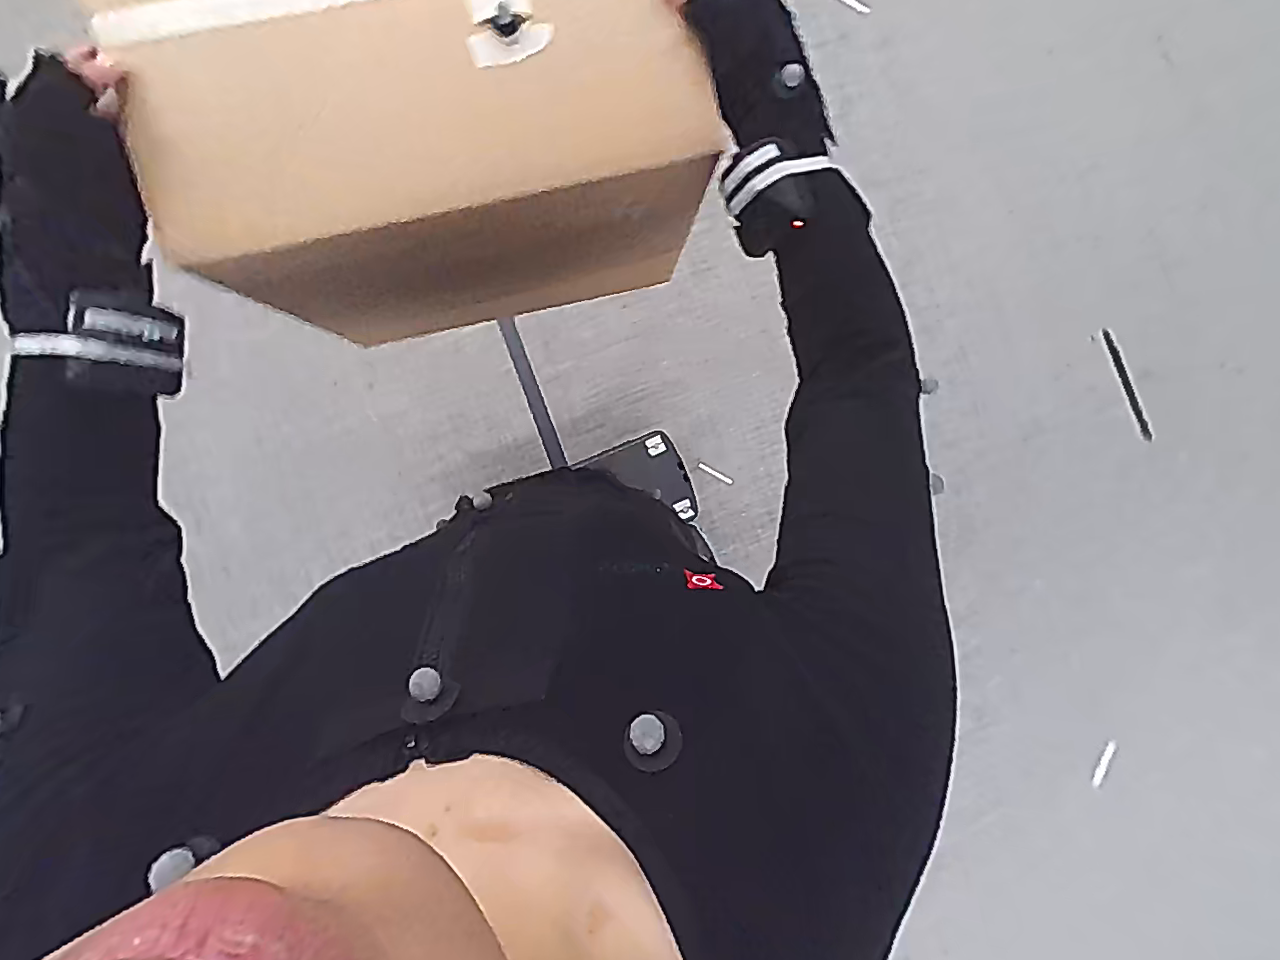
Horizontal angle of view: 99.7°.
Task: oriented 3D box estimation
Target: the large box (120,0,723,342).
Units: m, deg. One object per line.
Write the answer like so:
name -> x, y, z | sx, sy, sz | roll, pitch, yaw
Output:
large box -> -0.176, -0.360, 0.537 | 0.408, 0.320, 0.320 | -14, 95, -4

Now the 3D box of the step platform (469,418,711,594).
step platform -> -0.139, 0.071, 1.580 | 0.684, 0.204, 0.286 | -24, 91, -4
